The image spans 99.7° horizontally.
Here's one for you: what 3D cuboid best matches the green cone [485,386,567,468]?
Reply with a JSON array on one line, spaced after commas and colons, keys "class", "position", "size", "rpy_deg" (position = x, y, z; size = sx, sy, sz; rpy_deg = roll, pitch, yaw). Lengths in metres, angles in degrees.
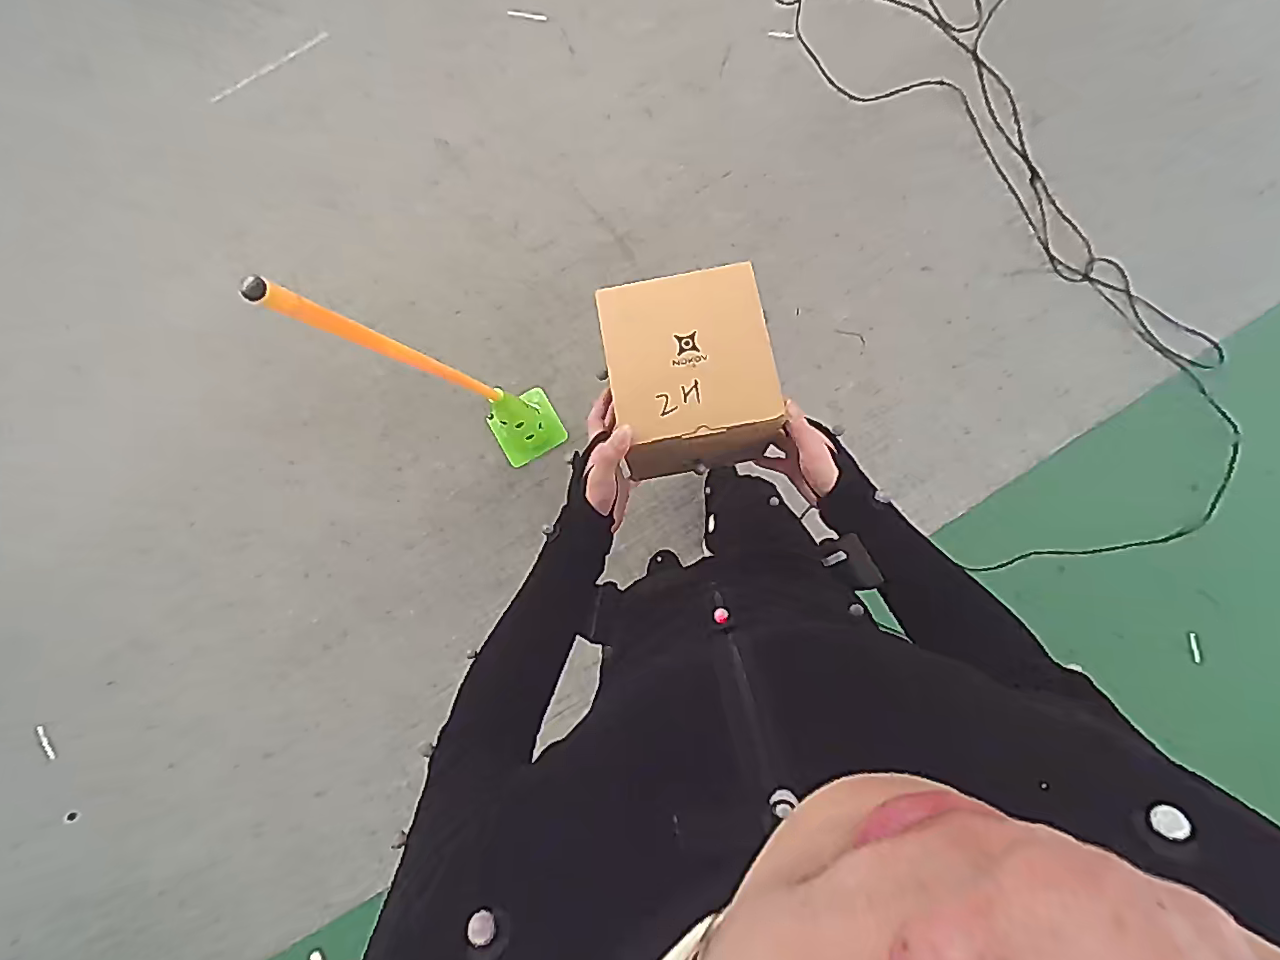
[{"class": "green cone", "position": [-0.350, -0.182, 1.490], "size": [0.202, 0.368, 0.200], "rpy_deg": [-31, 84, -4]}]
